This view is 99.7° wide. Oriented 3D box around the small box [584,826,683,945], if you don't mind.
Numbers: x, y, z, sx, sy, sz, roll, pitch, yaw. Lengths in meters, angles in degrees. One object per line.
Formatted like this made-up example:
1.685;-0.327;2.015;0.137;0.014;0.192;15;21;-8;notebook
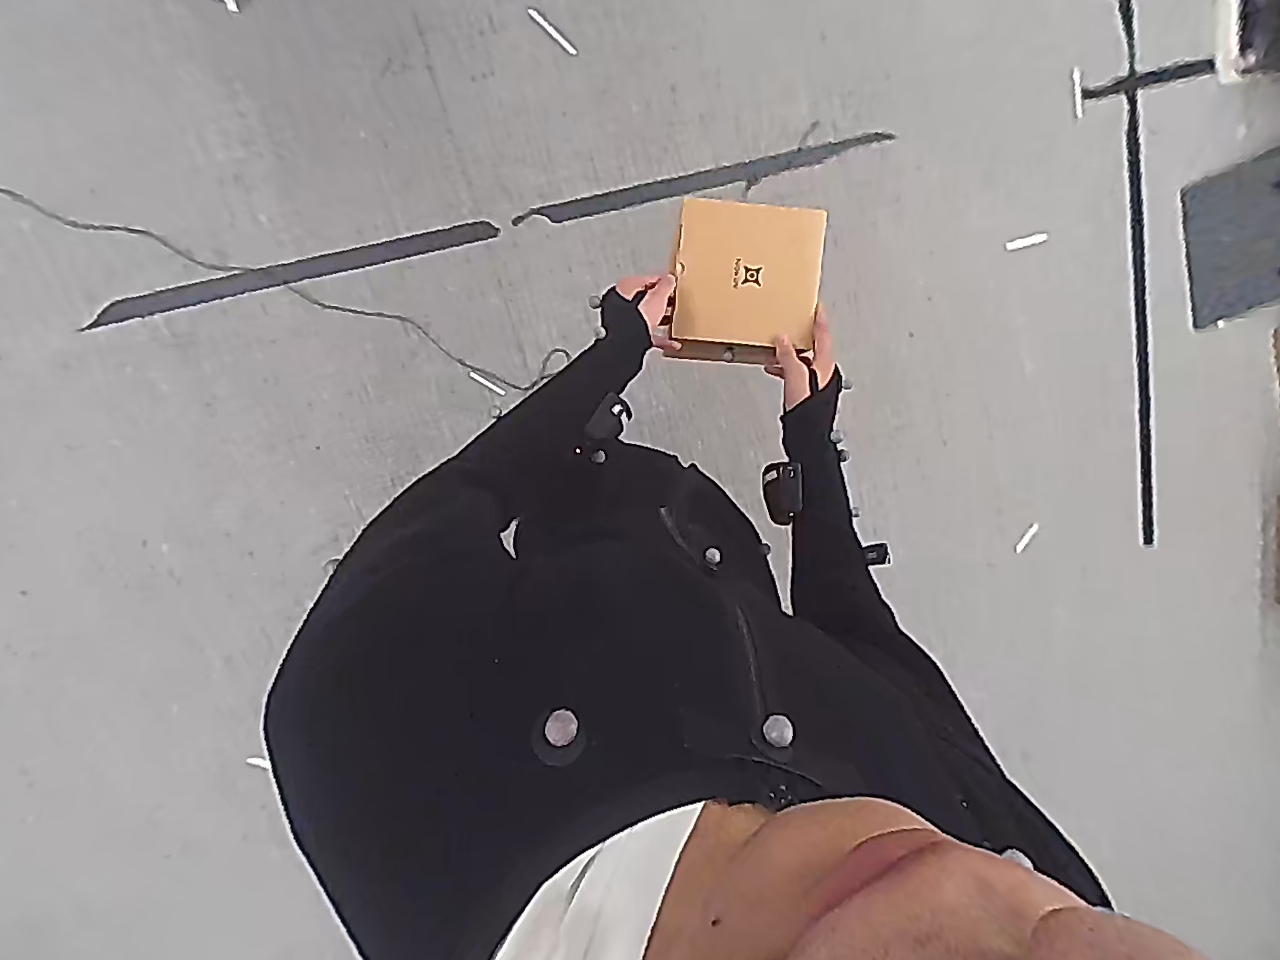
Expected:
-0.013;0.871;1.132;0.179;0.176;0.168;-11;104;-9;small box

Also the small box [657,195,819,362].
0.117;-0.252;0.714;0.179;0.176;0.168;4;95;0;small box
